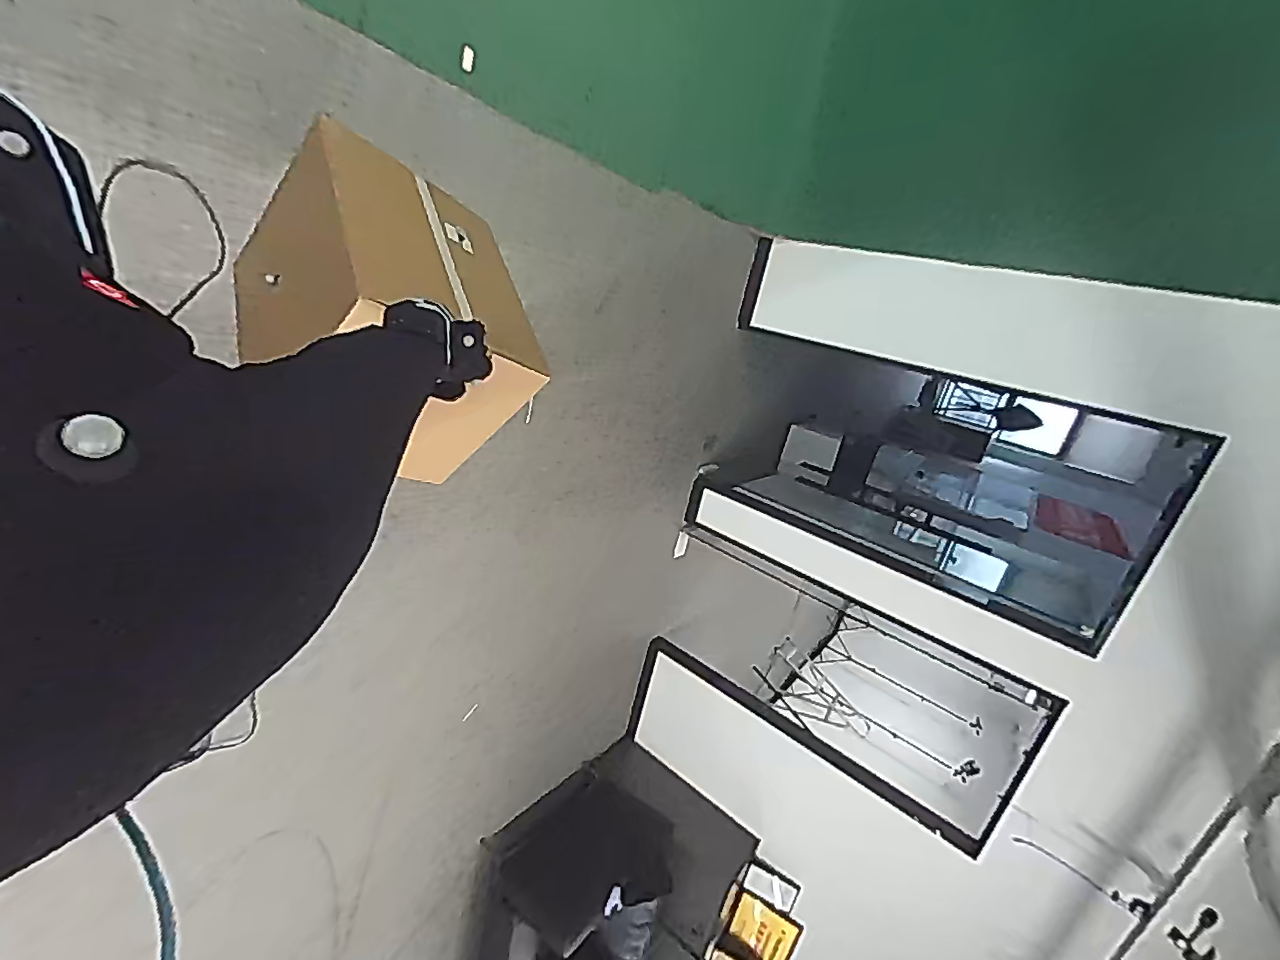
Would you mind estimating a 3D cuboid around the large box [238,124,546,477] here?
[{"bbox_3d":[-0.421,-0.263,0.900,0.320,0.408,0.320,-38,151,24],"label":"large box"}]
